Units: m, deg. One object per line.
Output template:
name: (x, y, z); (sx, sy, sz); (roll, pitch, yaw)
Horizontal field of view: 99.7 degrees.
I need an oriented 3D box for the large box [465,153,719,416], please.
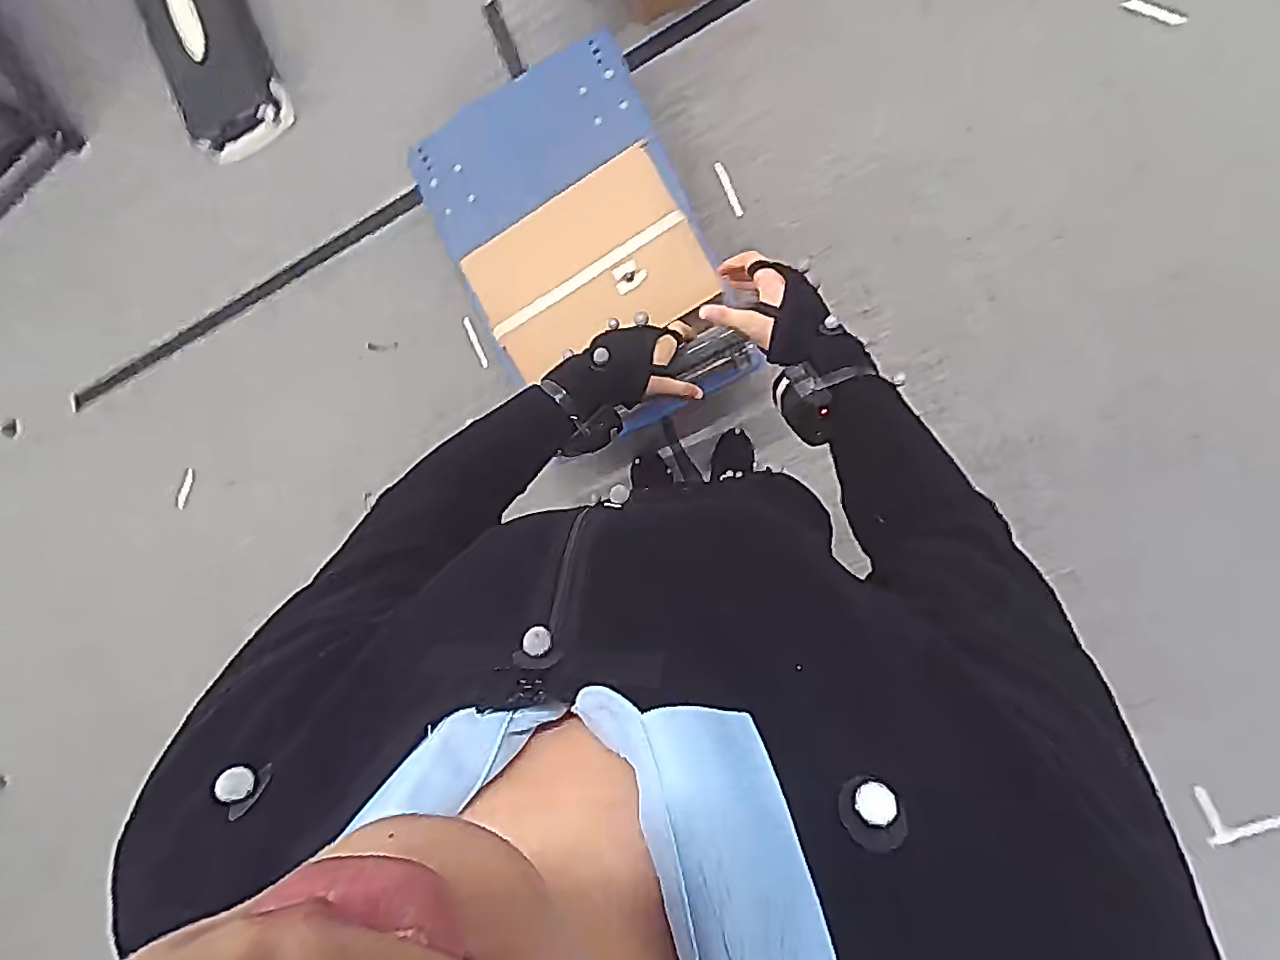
large box: (-0.079, -0.376, 1.157); (0.408, 0.320, 0.320); (-30, 90, 8)
